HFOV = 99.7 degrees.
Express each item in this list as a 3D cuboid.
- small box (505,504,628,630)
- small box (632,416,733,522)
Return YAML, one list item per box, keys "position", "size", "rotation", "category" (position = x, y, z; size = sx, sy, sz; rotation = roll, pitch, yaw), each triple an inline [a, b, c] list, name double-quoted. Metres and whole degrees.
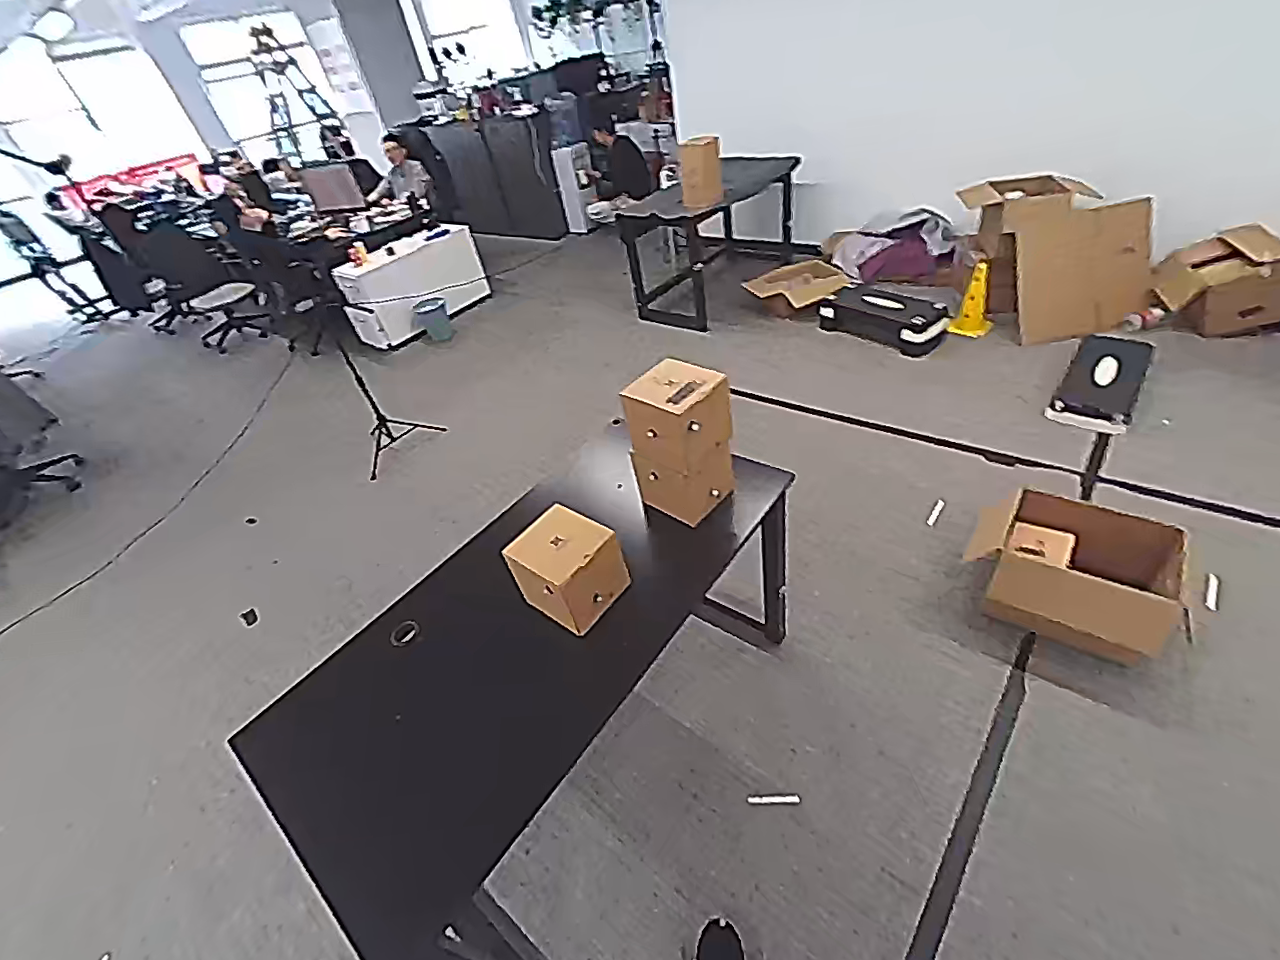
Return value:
- position: [-0.148, 0.184, 1.141]
  size: [0.179, 0.176, 0.168]
  rotation: [22, 51, 33]
  category: "small box"
- position: [0.108, -0.026, 1.310]
  size: [0.179, 0.176, 0.168]
  rotation: [26, 55, 37]
  category: "small box"
